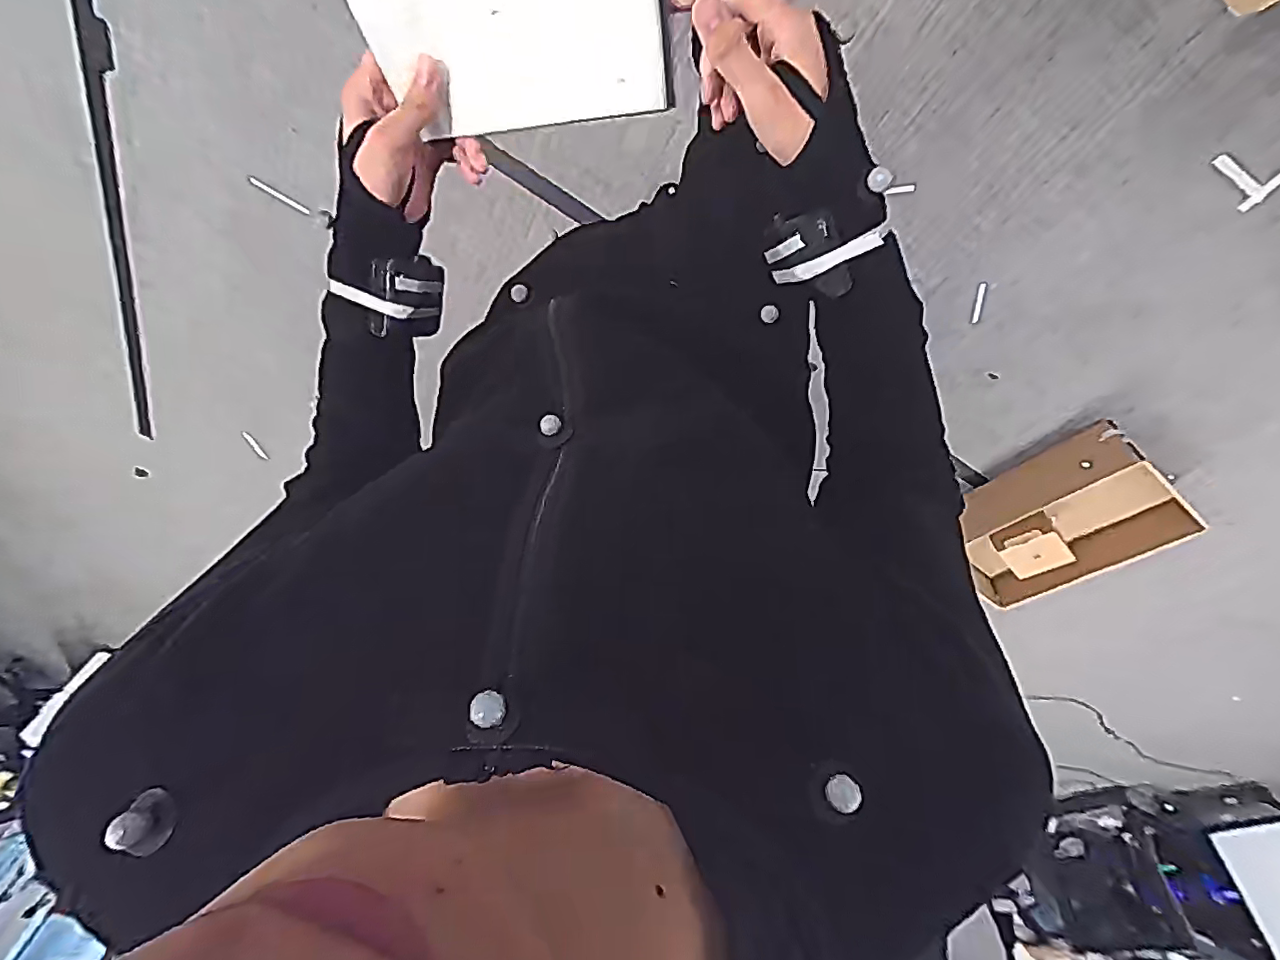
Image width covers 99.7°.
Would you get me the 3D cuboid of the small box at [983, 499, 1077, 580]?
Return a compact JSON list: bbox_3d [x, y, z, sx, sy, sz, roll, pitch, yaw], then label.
[{"bbox_3d":[1.244,0.184,1.736,0.179,0.176,0.168,39,127,-24],"label":"small box"}]
